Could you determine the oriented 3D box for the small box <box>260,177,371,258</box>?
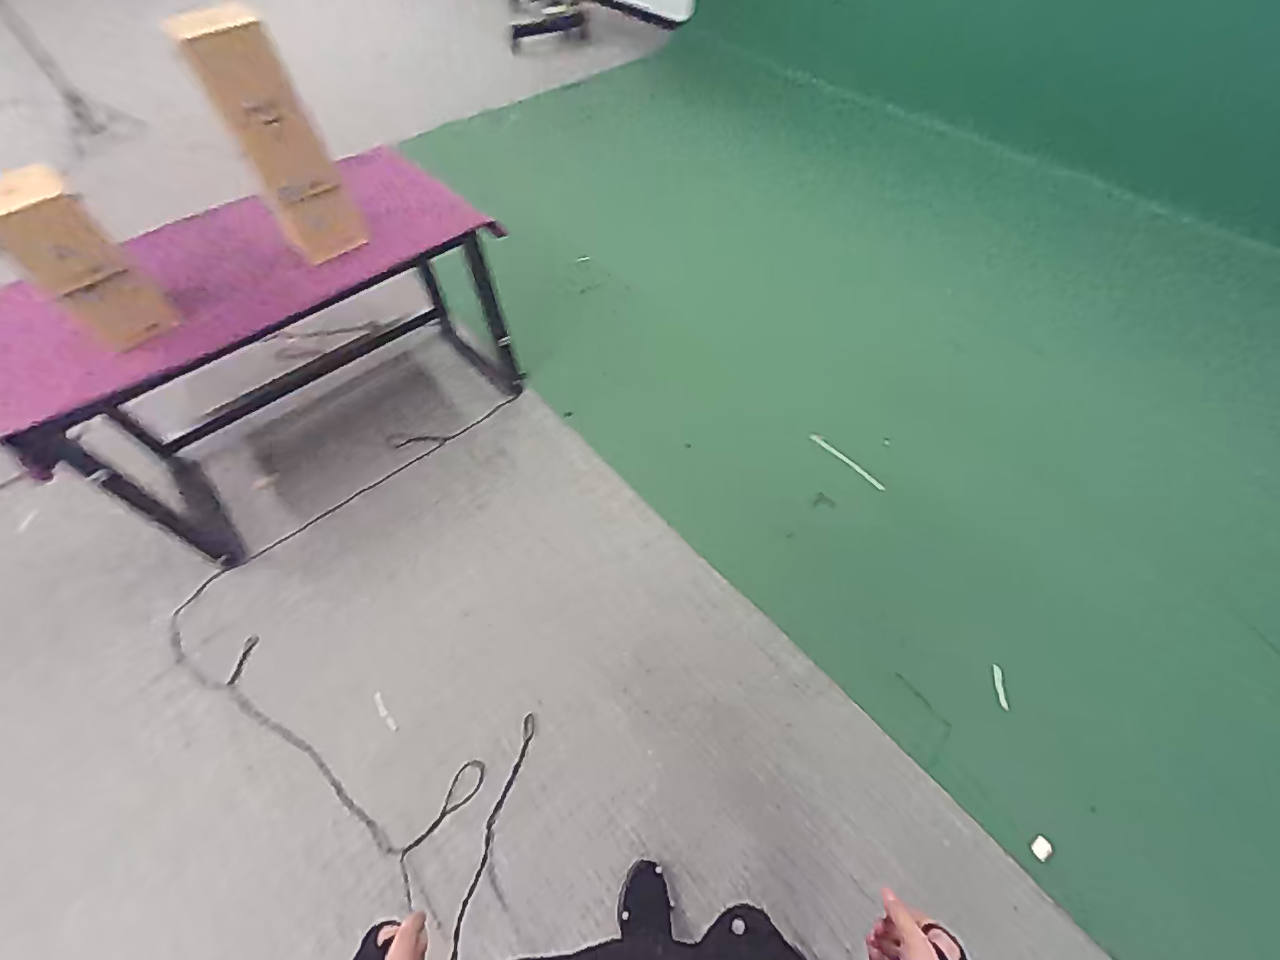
[{"bbox_3d":[-0.855,-0.721,1.441,0.168,0.176,0.179,-38,61,-21],"label":"small box"}]

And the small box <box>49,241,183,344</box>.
[{"bbox_3d":[-1.231,-0.449,1.261,0.179,0.176,0.168,38,64,24],"label":"small box"}]

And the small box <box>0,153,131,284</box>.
[{"bbox_3d":[-1.221,-0.533,1.118,0.179,0.176,0.168,39,64,24],"label":"small box"}]

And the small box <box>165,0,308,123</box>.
[{"bbox_3d":[-0.865,-0.907,1.171,0.168,0.176,0.179,-35,61,-20],"label":"small box"}]

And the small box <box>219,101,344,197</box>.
[{"bbox_3d":[-0.854,-0.811,1.303,0.168,0.176,0.179,-36,60,-21],"label":"small box"}]
